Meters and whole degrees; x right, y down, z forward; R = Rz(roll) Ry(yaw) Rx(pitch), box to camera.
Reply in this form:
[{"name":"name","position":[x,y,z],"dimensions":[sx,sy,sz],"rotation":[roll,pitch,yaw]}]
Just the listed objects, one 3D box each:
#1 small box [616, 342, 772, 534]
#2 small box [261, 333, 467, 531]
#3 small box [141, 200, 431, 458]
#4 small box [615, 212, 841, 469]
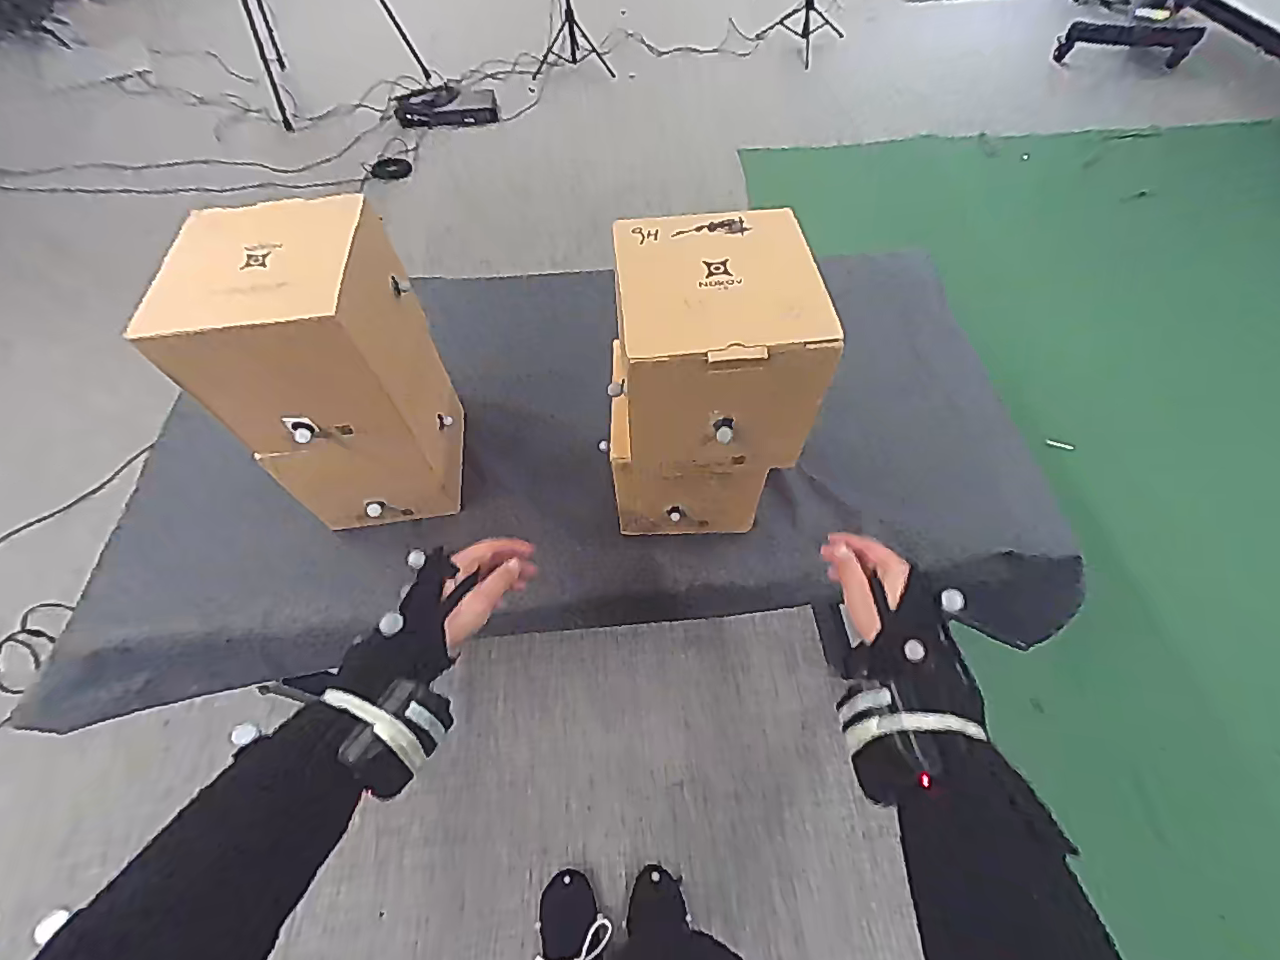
[{"name":"small box","position":[0.056,-0.049,0.663],"dimensions":[0.168,0.176,0.179],"rotation":[-2,57,0]},{"name":"small box","position":[-0.323,-0.058,0.678],"dimensions":[0.168,0.176,0.179],"rotation":[-8,58,-3]},{"name":"small box","position":[-0.322,-0.146,0.541],"dimensions":[0.168,0.176,0.179],"rotation":[-8,58,-2]},{"name":"small box","position":[0.068,-0.122,0.516],"dimensions":[0.168,0.176,0.179],"rotation":[-5,58,-2]}]
